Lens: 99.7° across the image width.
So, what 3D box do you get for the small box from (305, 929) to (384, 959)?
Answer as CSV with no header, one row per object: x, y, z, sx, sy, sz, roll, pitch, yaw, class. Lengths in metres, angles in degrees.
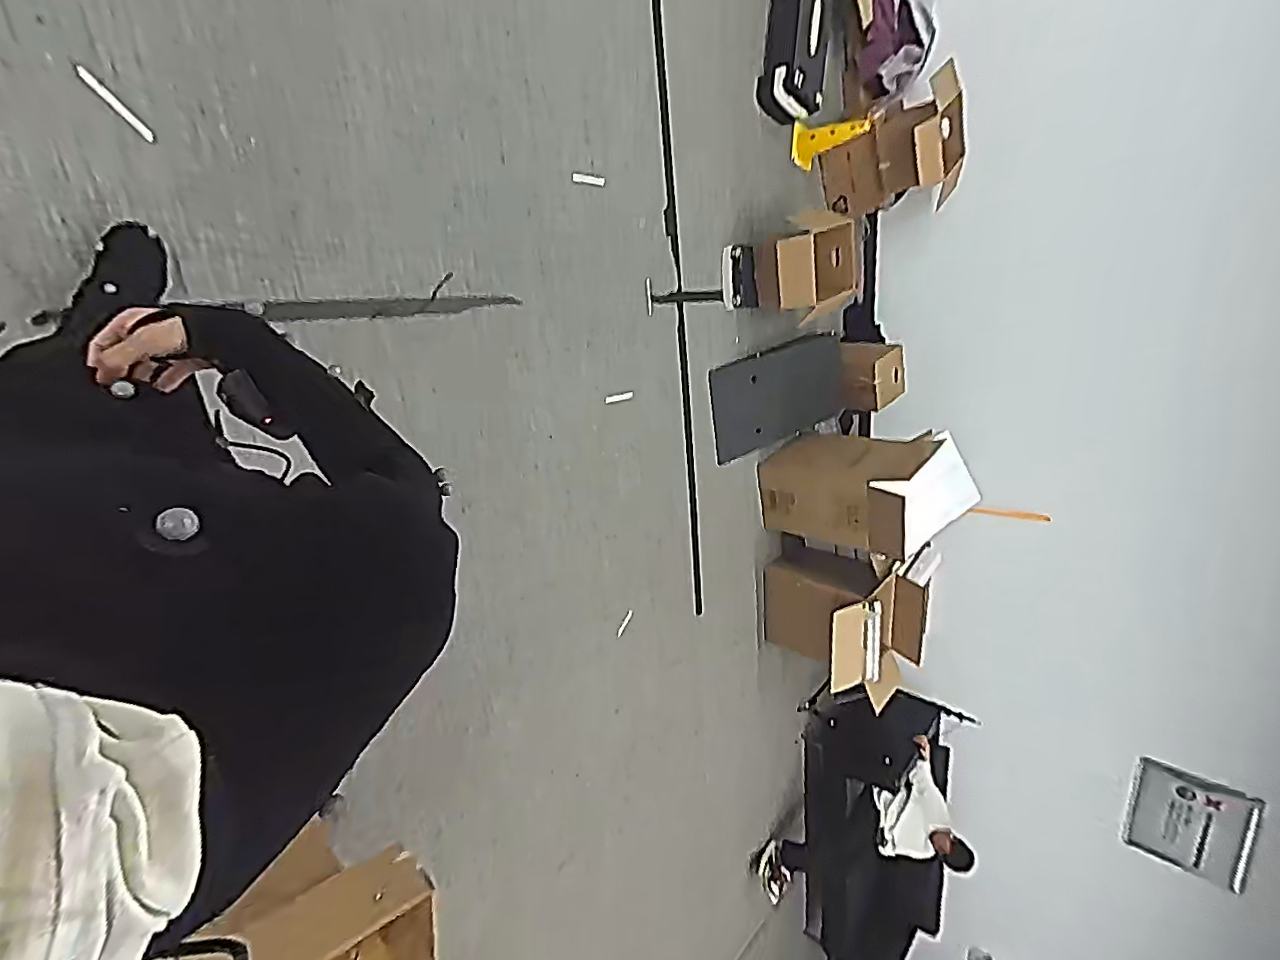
-0.667,1.165,1.208,0.168,0.176,0.179,-11,107,-43,small box
